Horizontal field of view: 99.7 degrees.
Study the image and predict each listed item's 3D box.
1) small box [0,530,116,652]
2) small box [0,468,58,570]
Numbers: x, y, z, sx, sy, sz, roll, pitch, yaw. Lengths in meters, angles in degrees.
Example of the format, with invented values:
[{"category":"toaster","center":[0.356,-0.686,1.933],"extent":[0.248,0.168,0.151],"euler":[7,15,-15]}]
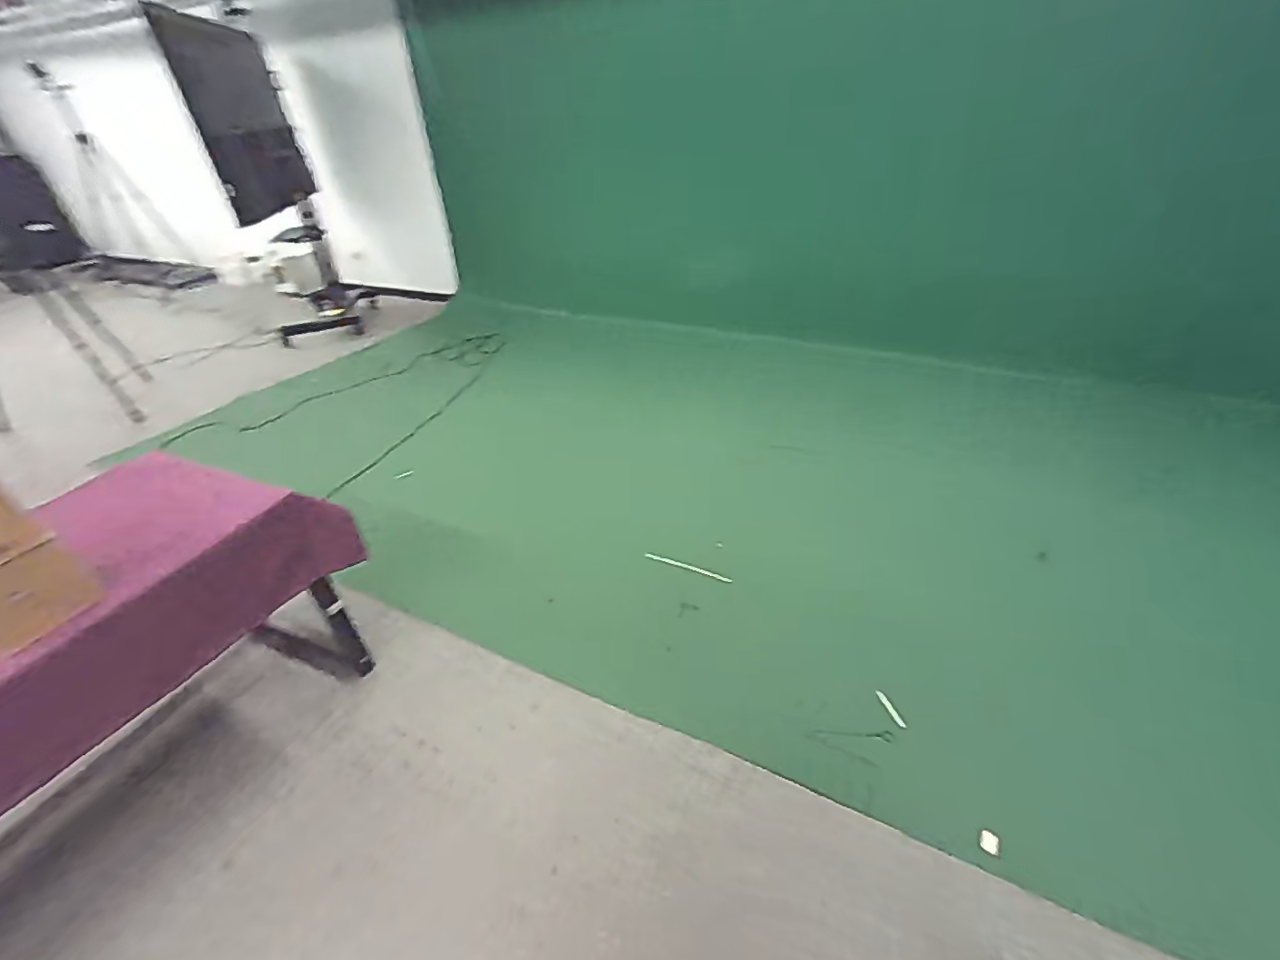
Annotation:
[{"category":"small box","center":[-1.220,0.207,1.069],"extent":[0.168,0.176,0.179],"euler":[12,38,20]},{"category":"small box","center":[-1.236,0.074,0.976],"extent":[0.179,0.176,0.168],"euler":[13,38,21]}]
